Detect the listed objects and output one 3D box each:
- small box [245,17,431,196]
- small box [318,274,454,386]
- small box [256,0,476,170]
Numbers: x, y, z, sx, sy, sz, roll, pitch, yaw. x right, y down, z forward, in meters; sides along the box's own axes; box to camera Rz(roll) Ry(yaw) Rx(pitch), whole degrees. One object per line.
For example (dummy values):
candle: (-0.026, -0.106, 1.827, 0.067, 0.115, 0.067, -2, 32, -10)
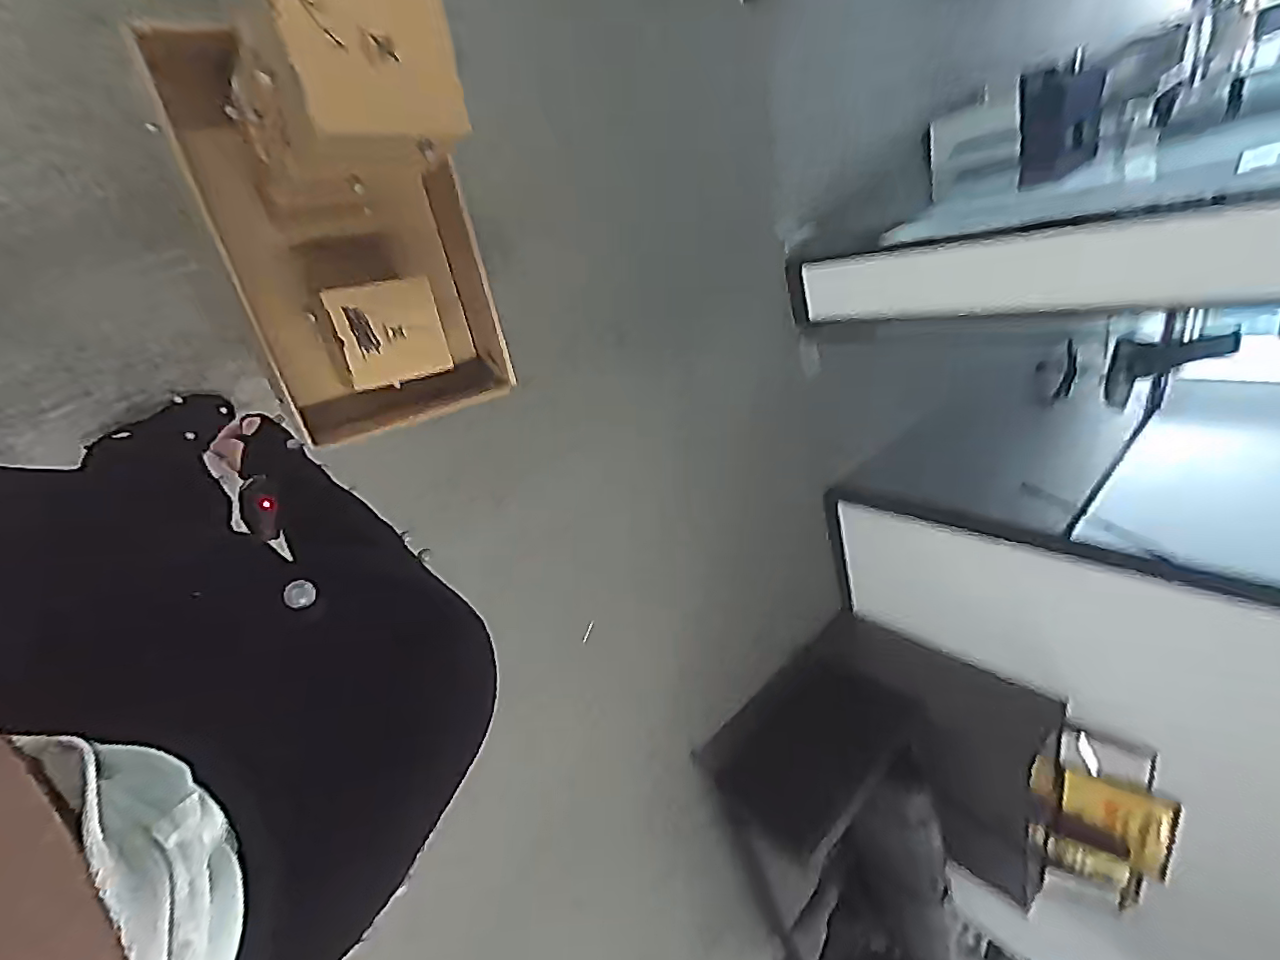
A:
small box: (-0.428, -0.513, 0.769, 0.179, 0.176, 0.168, -23, 116, -31)
small box: (-0.475, -0.277, 1.002, 0.179, 0.176, 0.168, -24, 115, -32)
small box: (-0.325, -0.481, 0.643, 0.179, 0.176, 0.168, -23, 114, -32)
